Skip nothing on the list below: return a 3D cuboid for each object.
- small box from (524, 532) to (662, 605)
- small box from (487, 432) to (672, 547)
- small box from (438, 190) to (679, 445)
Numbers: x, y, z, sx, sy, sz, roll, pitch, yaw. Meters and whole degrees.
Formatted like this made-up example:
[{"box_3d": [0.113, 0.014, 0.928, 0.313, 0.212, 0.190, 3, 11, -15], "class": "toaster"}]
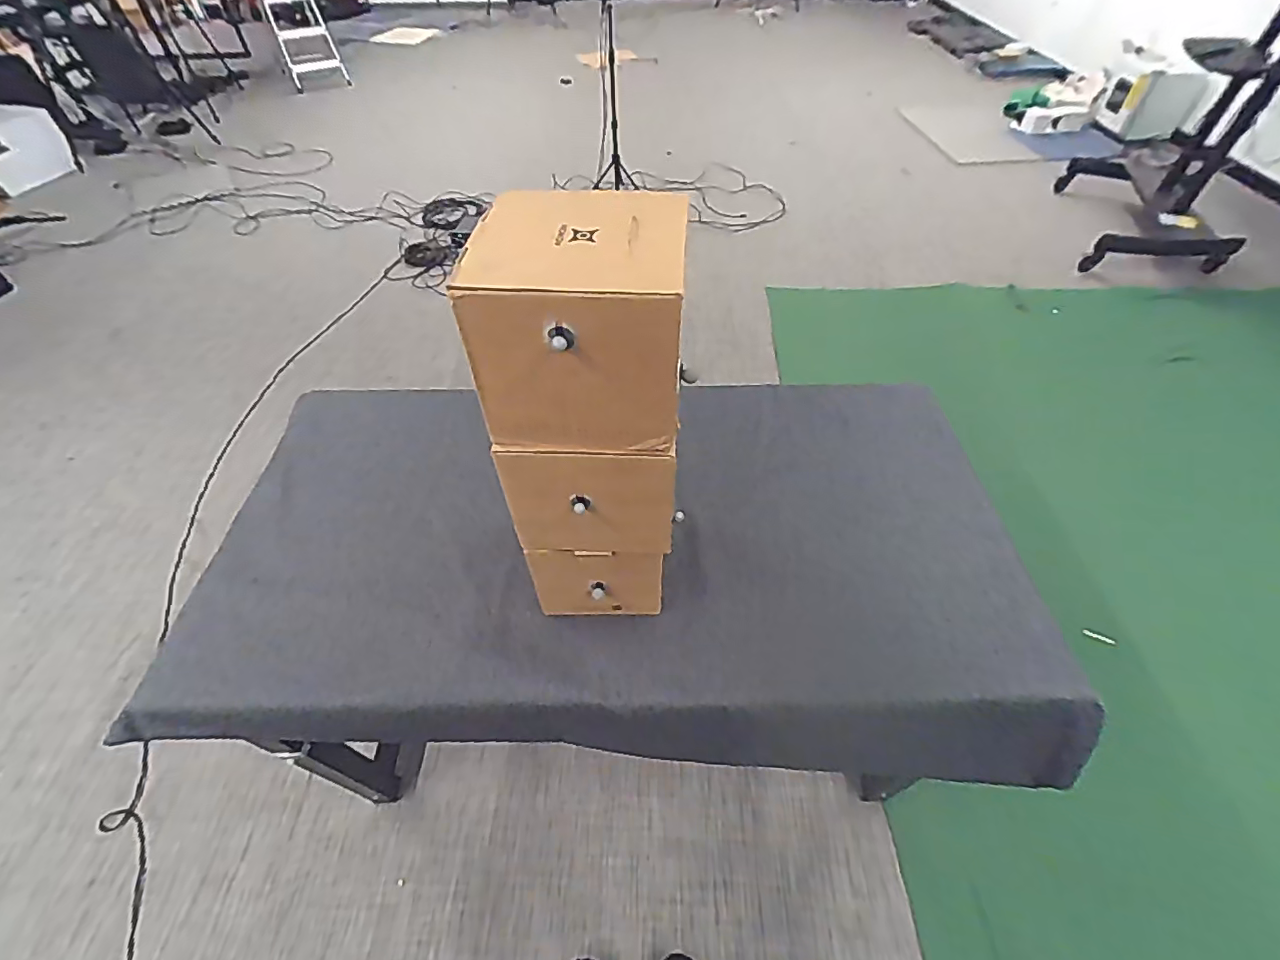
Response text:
[{"box_3d": [-0.054, 0.063, 0.750, 0.168, 0.176, 0.179, -2, 51, 1], "class": "small box"}, {"box_3d": [-0.052, -0.036, 0.618, 0.179, 0.176, 0.168, 0, 50, 4], "class": "small box"}, {"box_3d": [-0.054, -0.146, 0.499, 0.179, 0.176, 0.168, 2, 51, 3], "class": "small box"}]
